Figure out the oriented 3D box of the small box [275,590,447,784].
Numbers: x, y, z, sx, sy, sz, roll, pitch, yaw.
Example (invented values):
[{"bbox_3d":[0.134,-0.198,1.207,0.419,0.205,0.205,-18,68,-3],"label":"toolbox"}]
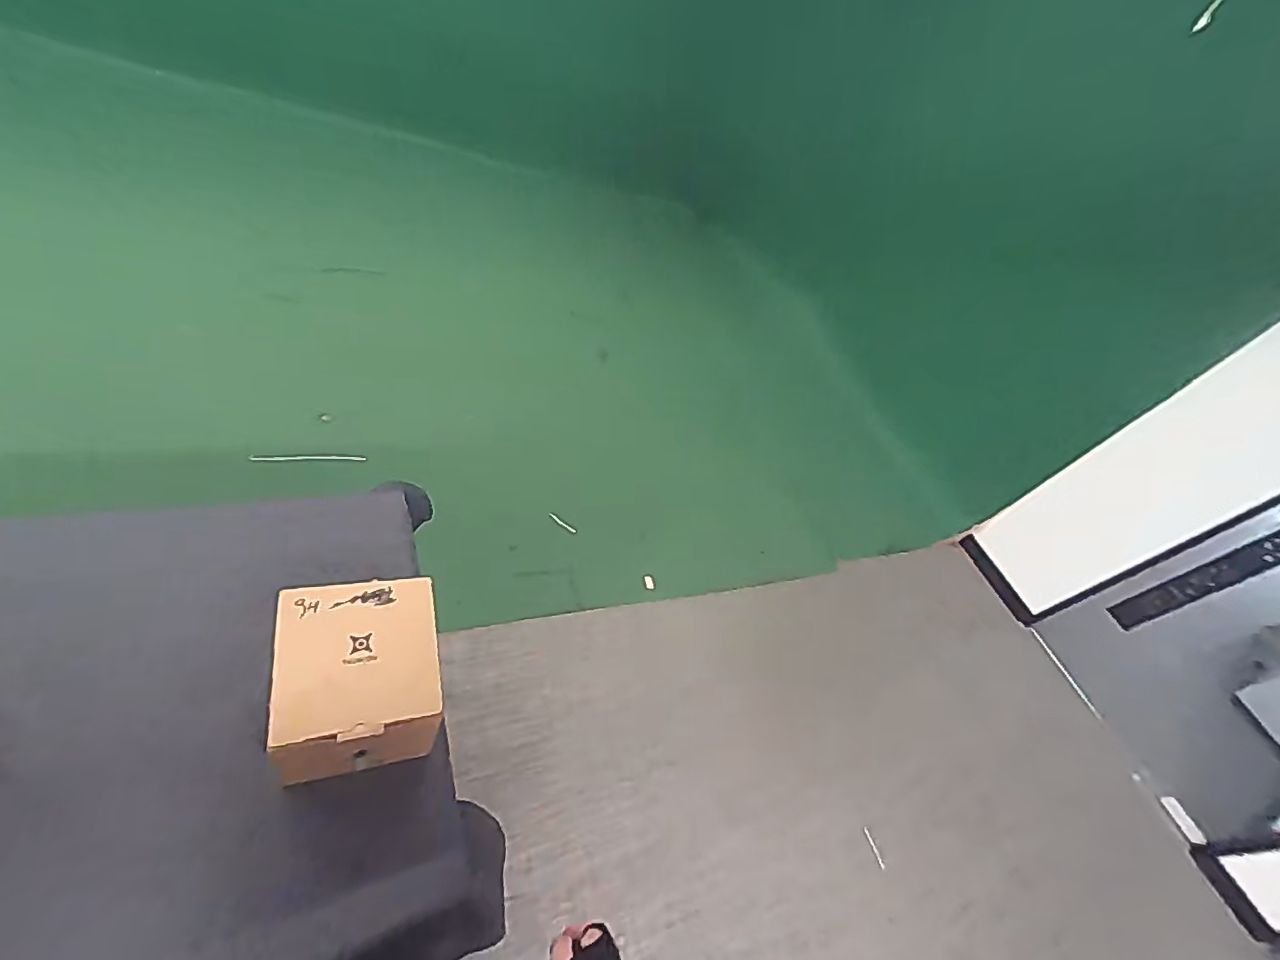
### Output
[{"bbox_3d":[-0.339,0.259,0.671,0.168,0.176,0.179,-1,53,-27],"label":"small box"}]
